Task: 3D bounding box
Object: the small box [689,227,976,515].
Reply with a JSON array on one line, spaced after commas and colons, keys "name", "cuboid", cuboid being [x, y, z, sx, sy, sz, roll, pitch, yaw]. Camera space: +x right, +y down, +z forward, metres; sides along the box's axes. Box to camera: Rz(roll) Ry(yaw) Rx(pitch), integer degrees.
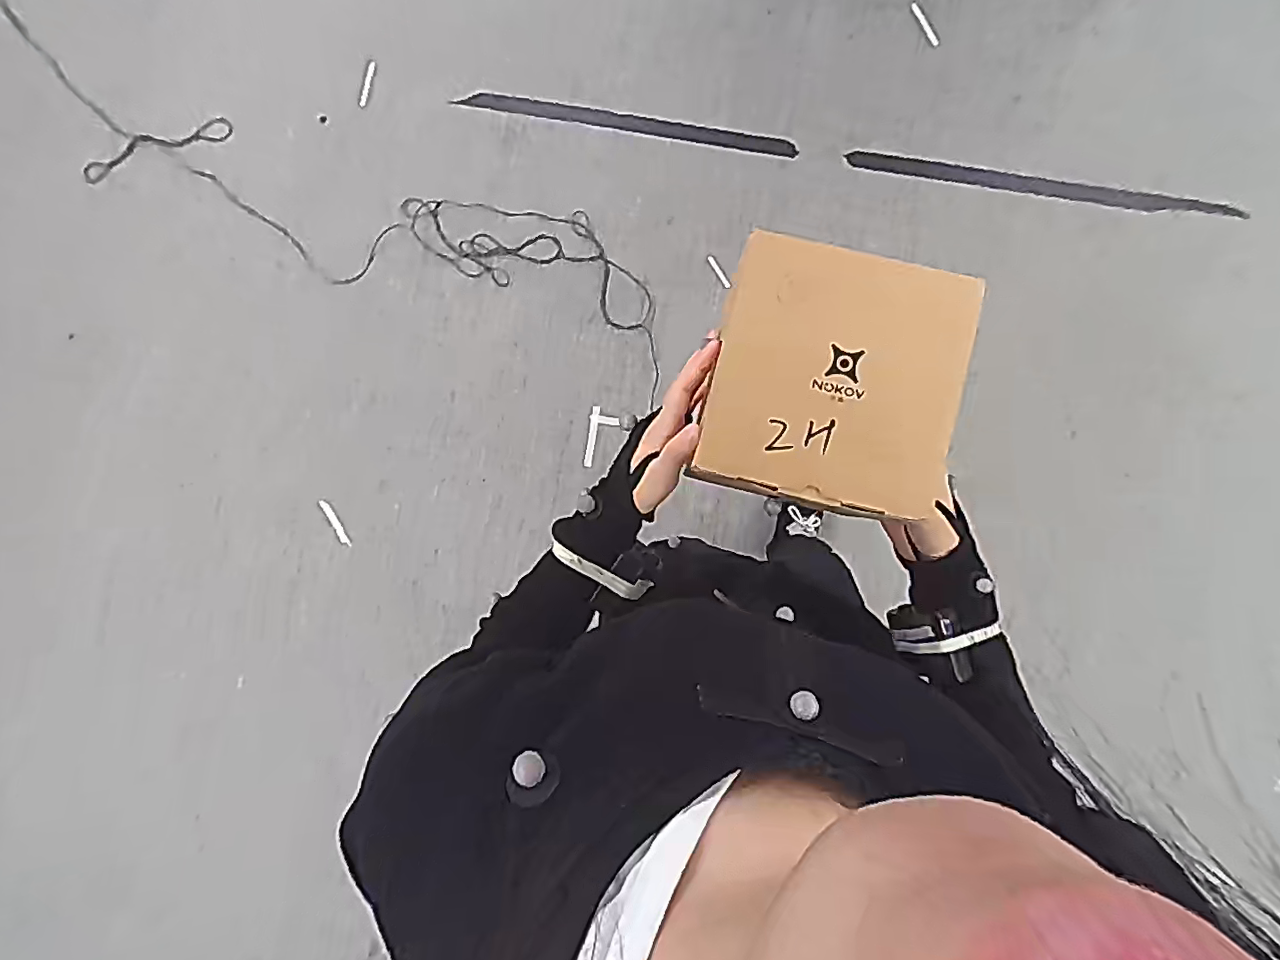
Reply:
[{"name": "small box", "cuboid": [0.140, -0.075, 0.458, 0.168, 0.176, 0.179, 13, 89, 2]}]
